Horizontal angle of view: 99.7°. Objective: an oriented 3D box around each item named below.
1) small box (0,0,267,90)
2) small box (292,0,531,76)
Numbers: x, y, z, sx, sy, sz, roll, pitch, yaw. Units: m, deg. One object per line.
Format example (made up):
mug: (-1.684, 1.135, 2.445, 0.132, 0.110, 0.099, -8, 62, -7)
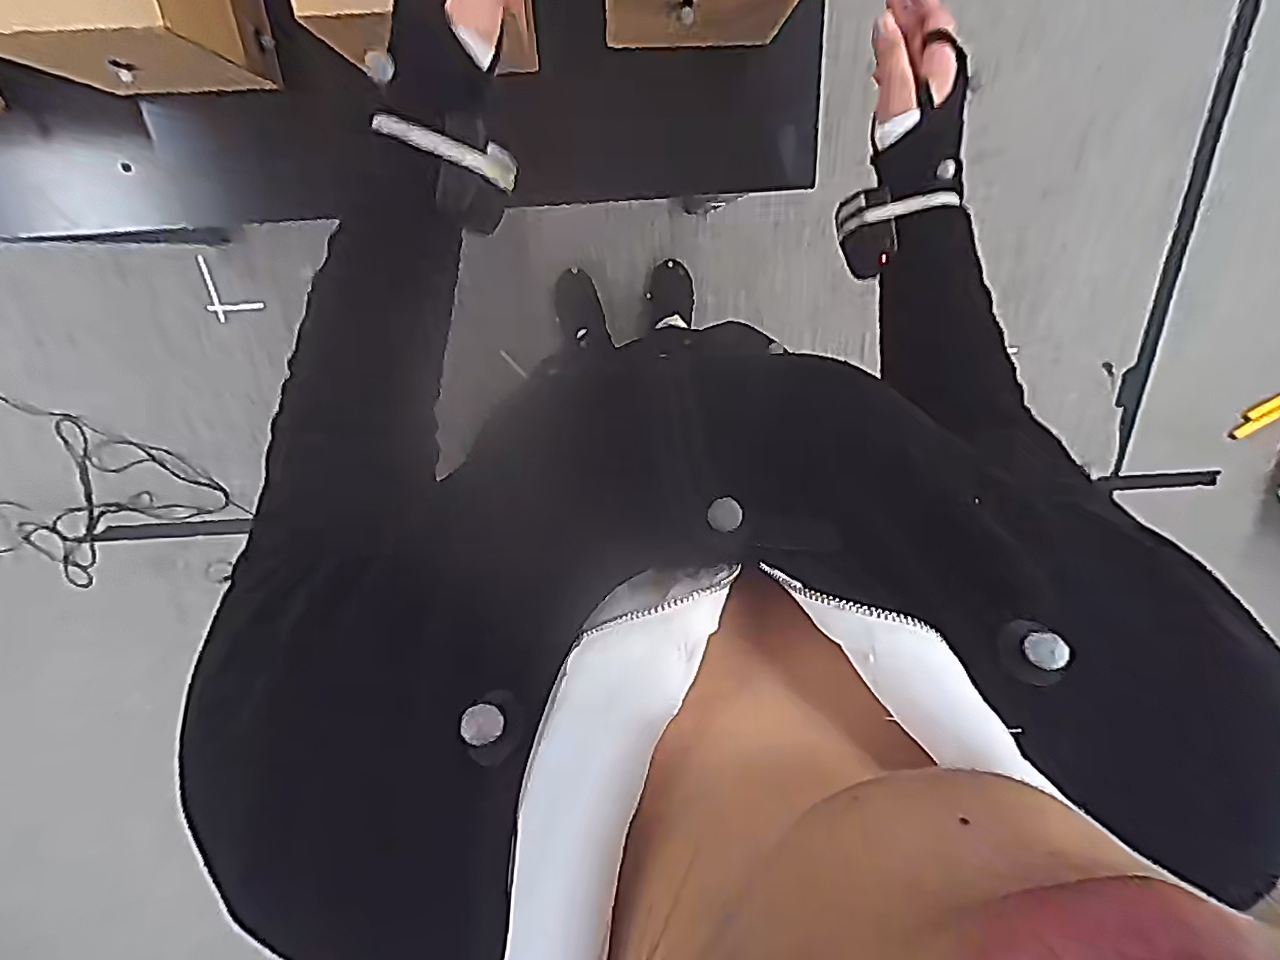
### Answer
small box: (-0.466, -0.460, 0.470, 0.179, 0.176, 0.168, -3, 113, -1)
small box: (-0.197, -0.480, 0.474, 0.179, 0.176, 0.168, -5, 112, -1)
